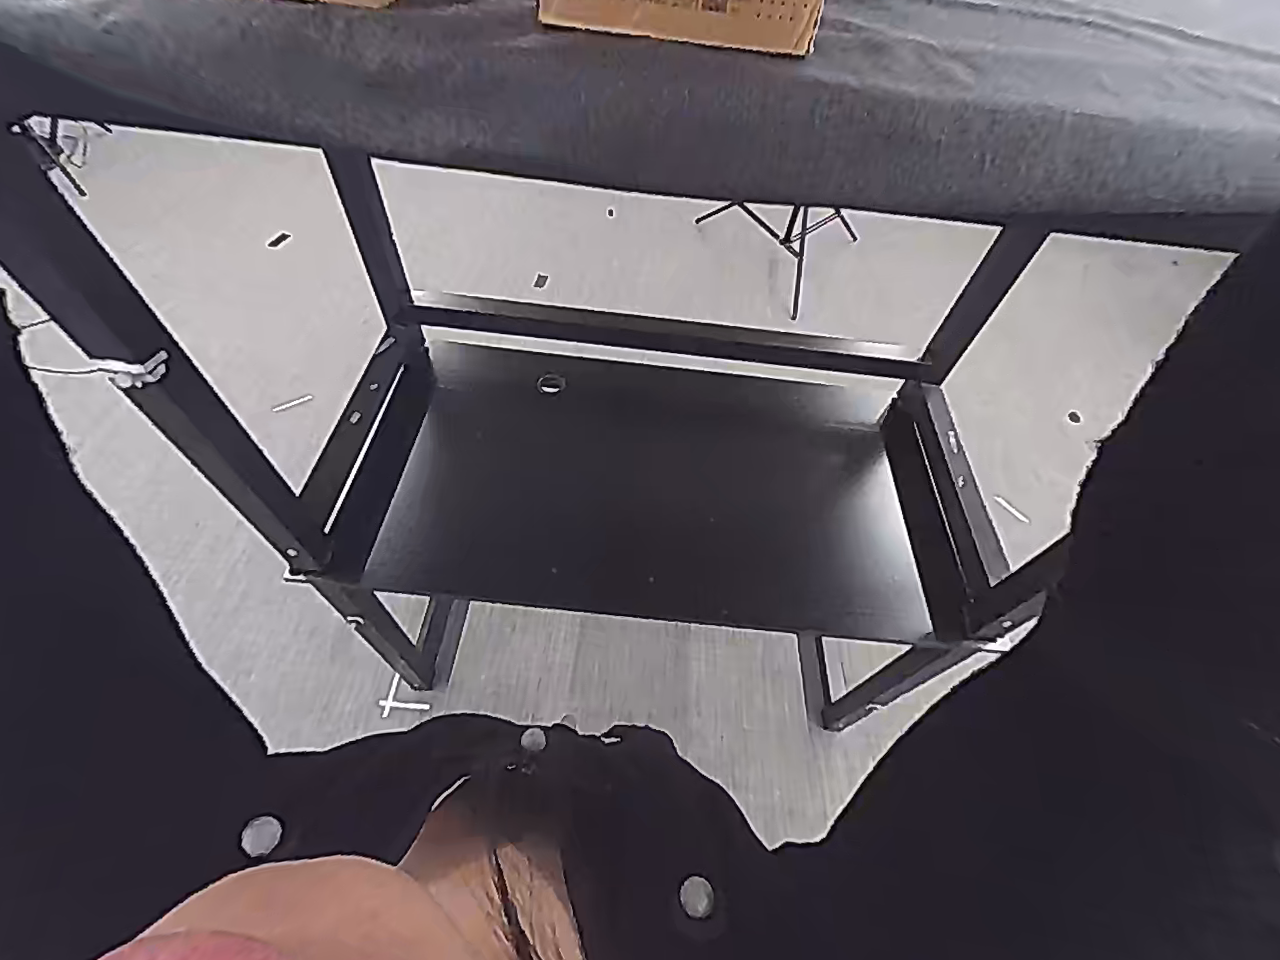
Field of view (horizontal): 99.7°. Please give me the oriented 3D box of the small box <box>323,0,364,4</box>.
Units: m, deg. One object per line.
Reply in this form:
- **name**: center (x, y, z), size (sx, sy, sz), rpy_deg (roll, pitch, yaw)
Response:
- **small box**: center (-0.221, -0.400, 0.303), size (0.168, 0.176, 0.179), rpy_deg (5, 51, -4)

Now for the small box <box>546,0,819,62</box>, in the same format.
- **small box**: center (0.033, -0.380, 0.316), size (0.168, 0.176, 0.179), rpy_deg (6, 52, -2)
